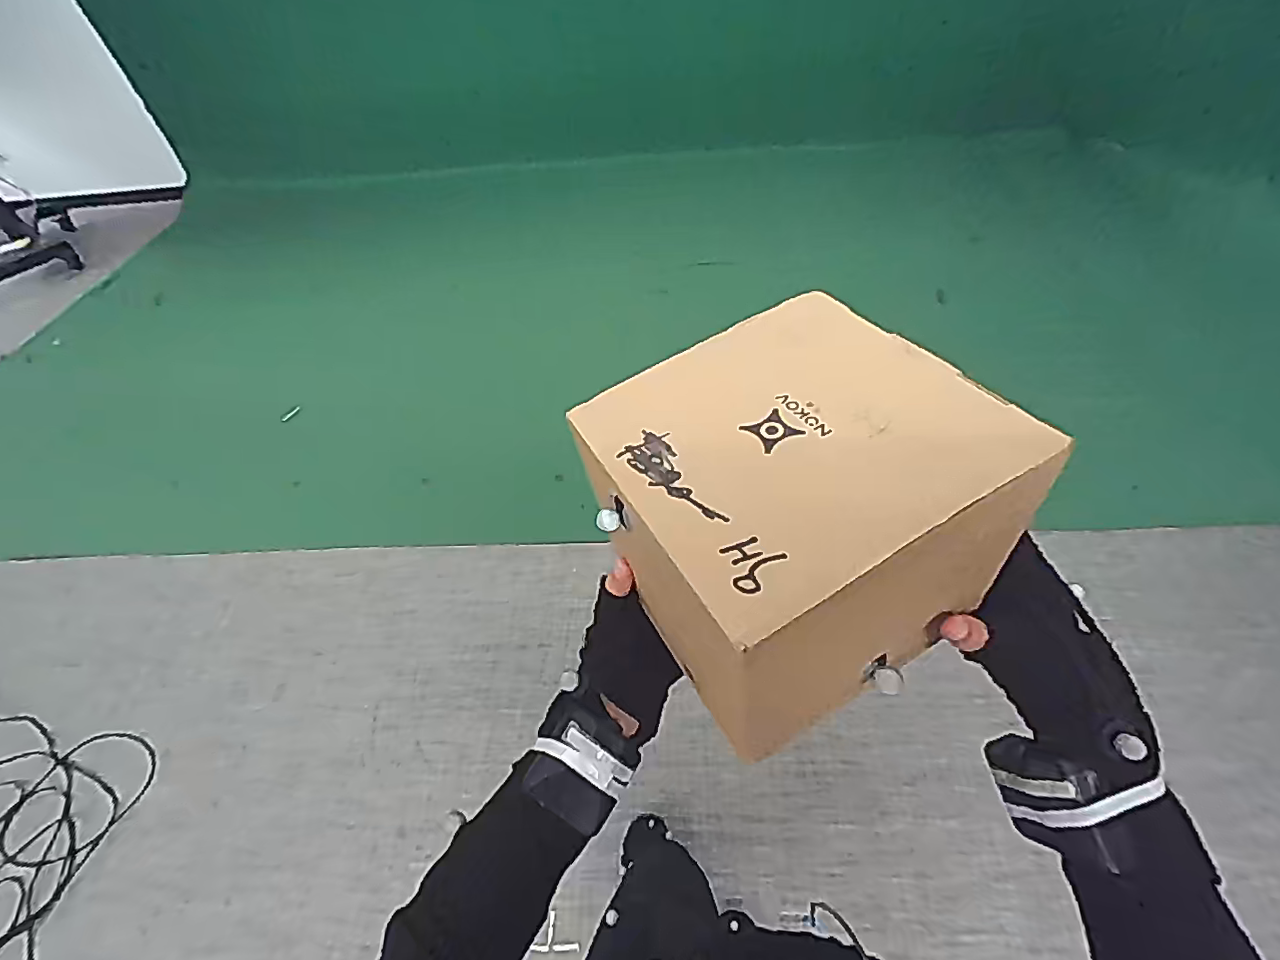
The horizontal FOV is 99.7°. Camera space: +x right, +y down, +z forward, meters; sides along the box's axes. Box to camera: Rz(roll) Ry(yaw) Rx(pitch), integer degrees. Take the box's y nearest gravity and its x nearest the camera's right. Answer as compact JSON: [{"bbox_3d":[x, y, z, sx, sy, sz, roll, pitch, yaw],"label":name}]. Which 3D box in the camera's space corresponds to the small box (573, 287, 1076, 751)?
[{"bbox_3d":[0.085,0.023,0.319,0.179,0.176,0.168,-27,49,-12],"label":"small box"}]
